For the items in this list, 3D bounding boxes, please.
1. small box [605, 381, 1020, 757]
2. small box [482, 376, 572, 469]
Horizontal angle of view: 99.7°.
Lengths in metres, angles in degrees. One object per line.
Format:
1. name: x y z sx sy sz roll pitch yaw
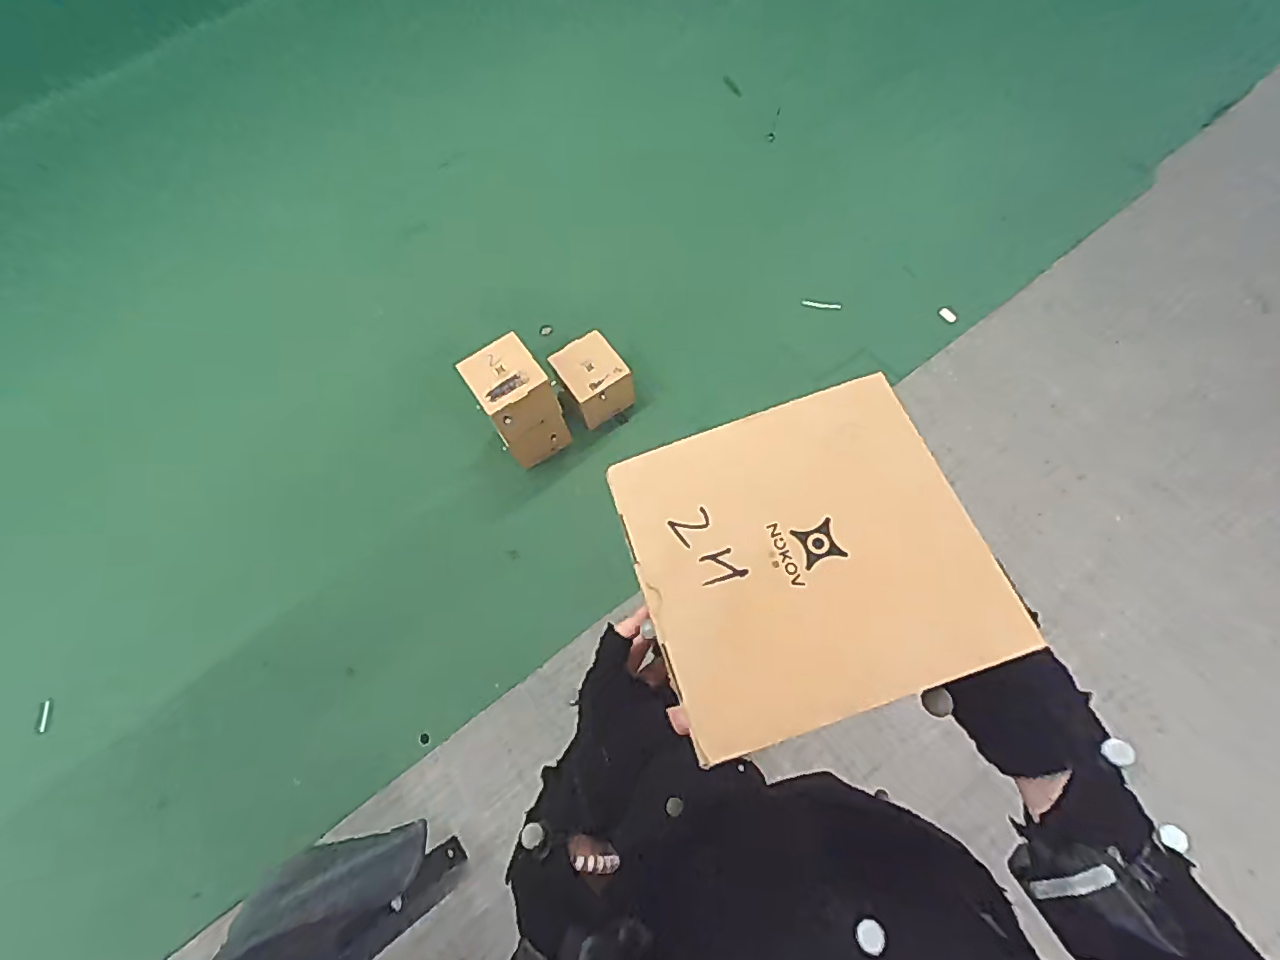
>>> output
1. small box: 0.094 0.067 0.368 0.179 0.176 0.168 -20 66 1
2. small box: -0.310 -0.150 1.518 0.168 0.176 0.179 -32 70 -8
